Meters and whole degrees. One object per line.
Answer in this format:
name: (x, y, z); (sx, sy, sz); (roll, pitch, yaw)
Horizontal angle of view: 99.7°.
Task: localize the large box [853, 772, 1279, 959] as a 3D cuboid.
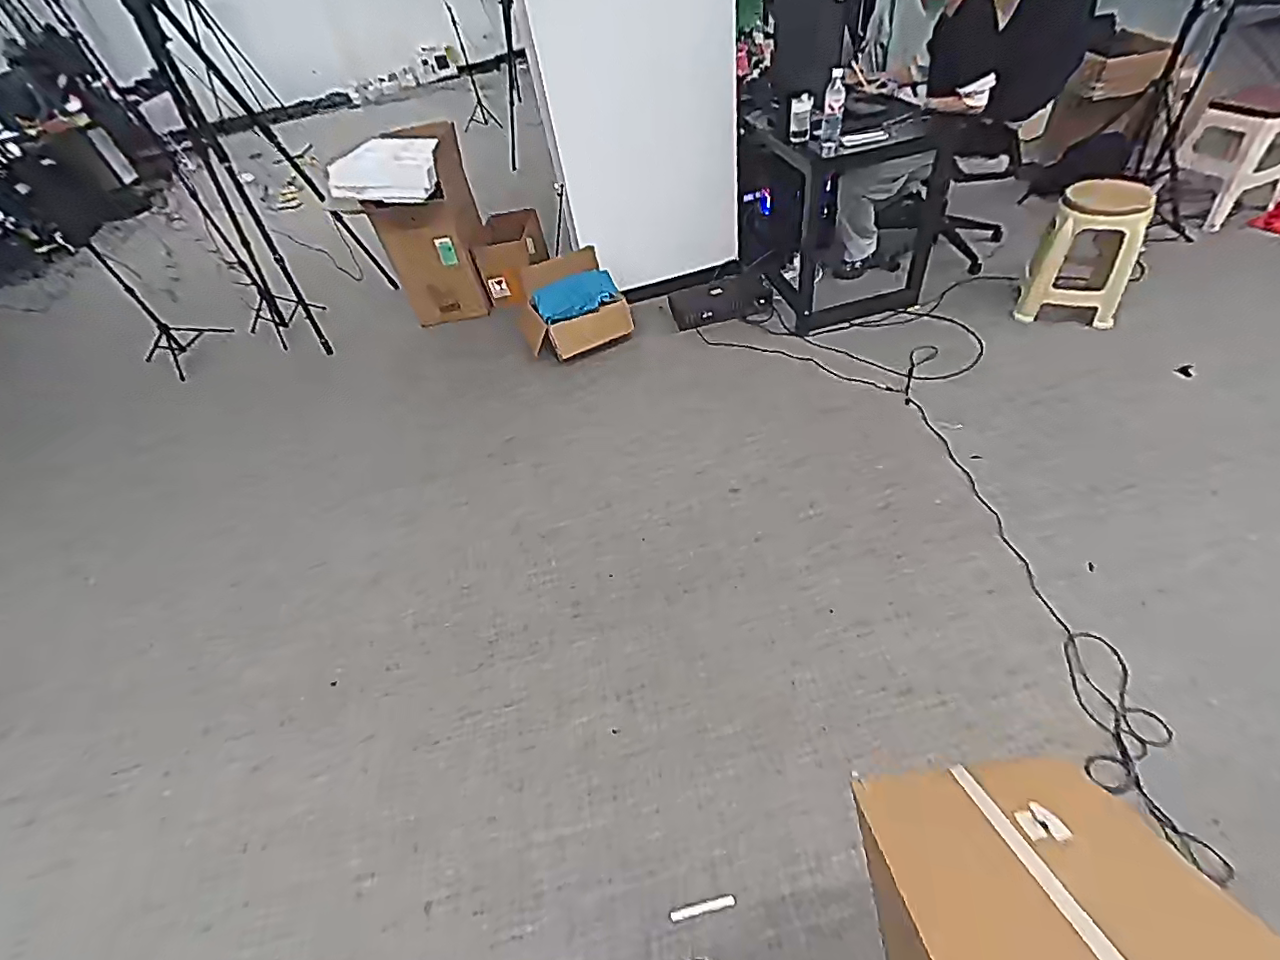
large box: (0.491, 0.621, 0.635); (0.320, 0.320, 0.408); (-9, 1, 6)
